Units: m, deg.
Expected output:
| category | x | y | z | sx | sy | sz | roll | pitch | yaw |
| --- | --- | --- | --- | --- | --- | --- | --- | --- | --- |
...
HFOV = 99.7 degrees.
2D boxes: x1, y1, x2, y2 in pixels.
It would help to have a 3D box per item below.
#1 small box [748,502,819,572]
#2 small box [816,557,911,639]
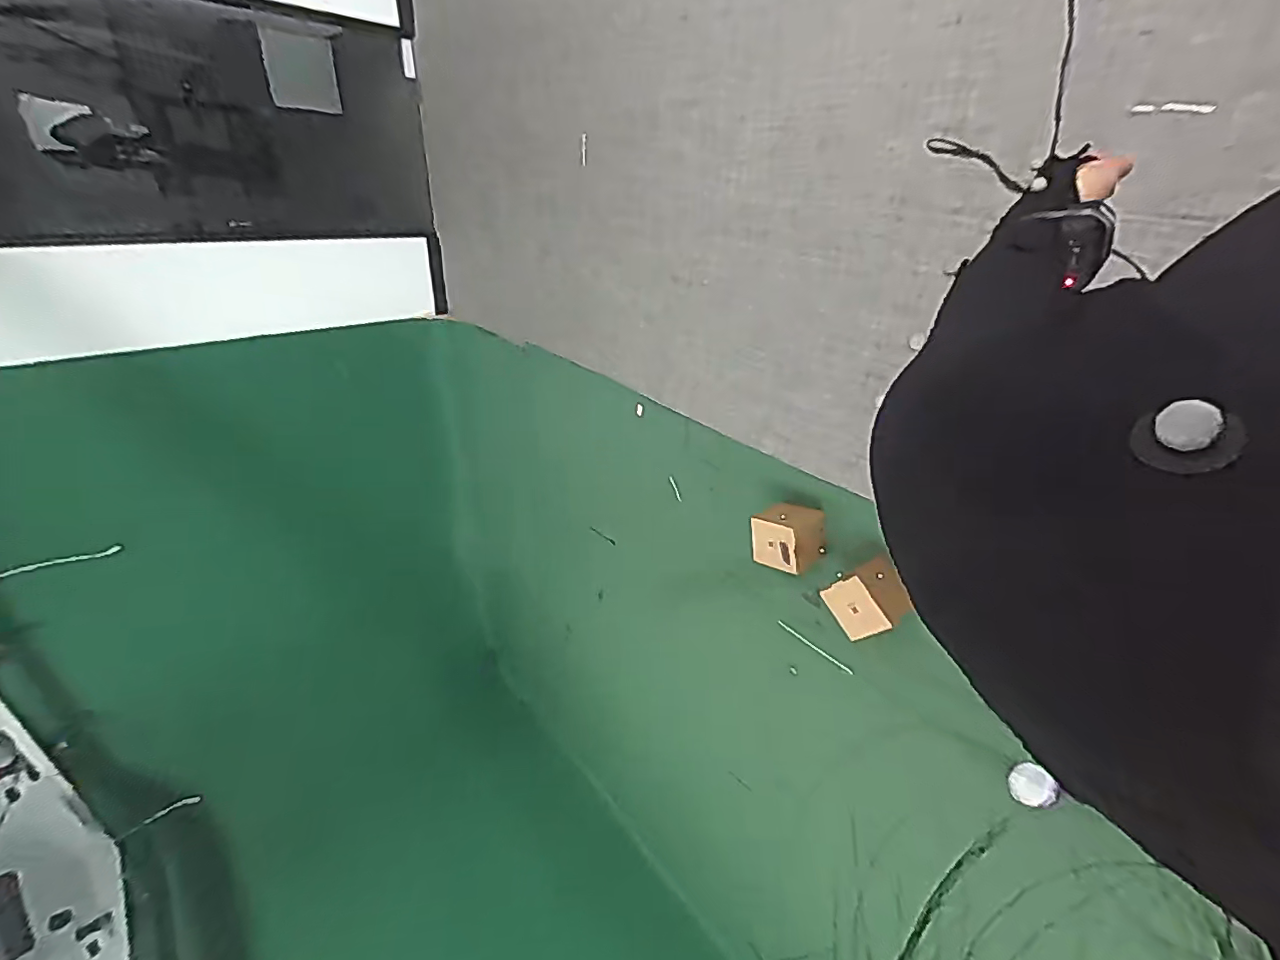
| category | x | y | z | sx | sy | sz | roll | pitch | yaw |
| --- | --- | --- | --- | --- | --- | --- | --- | --- | --- |
| small box | 0.488 | 0.186 | 1.826 | 0.179 | 0.176 | 0.168 | 14 | 117 | 48 |
| small box | 0.688 | 0.356 | 1.667 | 0.179 | 0.176 | 0.168 | 58 | 142 | 13 |
